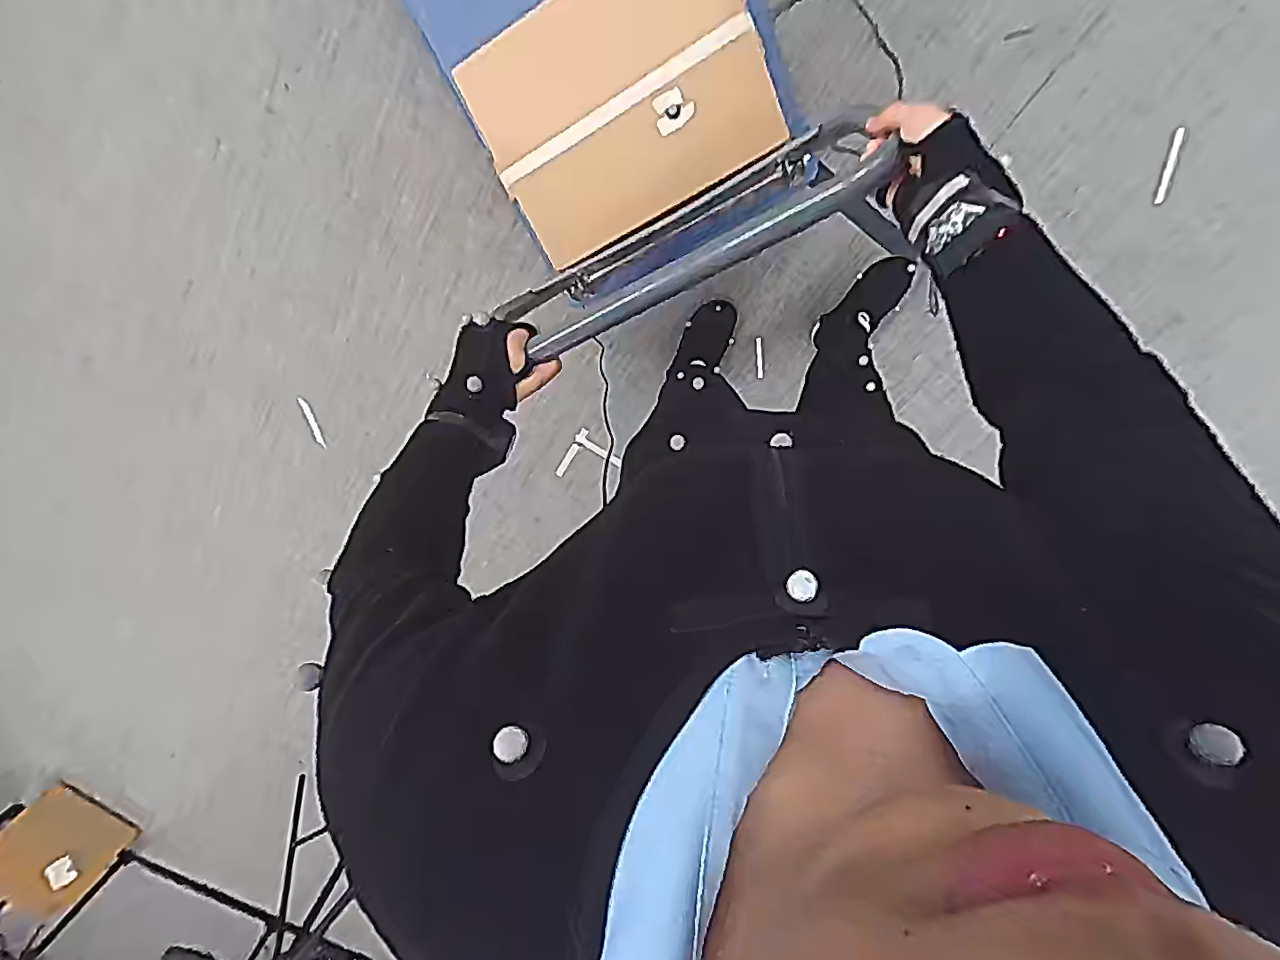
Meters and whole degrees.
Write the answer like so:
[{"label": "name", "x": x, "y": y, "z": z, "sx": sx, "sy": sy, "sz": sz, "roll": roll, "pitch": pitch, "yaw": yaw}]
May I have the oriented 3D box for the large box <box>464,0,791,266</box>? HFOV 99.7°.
[{"label": "large box", "x": -0.007, "y": -0.613, "z": 0.927, "sx": 0.408, "sy": 0.320, "sz": 0.320, "roll": -24, "pitch": 110, "yaw": 16}]
